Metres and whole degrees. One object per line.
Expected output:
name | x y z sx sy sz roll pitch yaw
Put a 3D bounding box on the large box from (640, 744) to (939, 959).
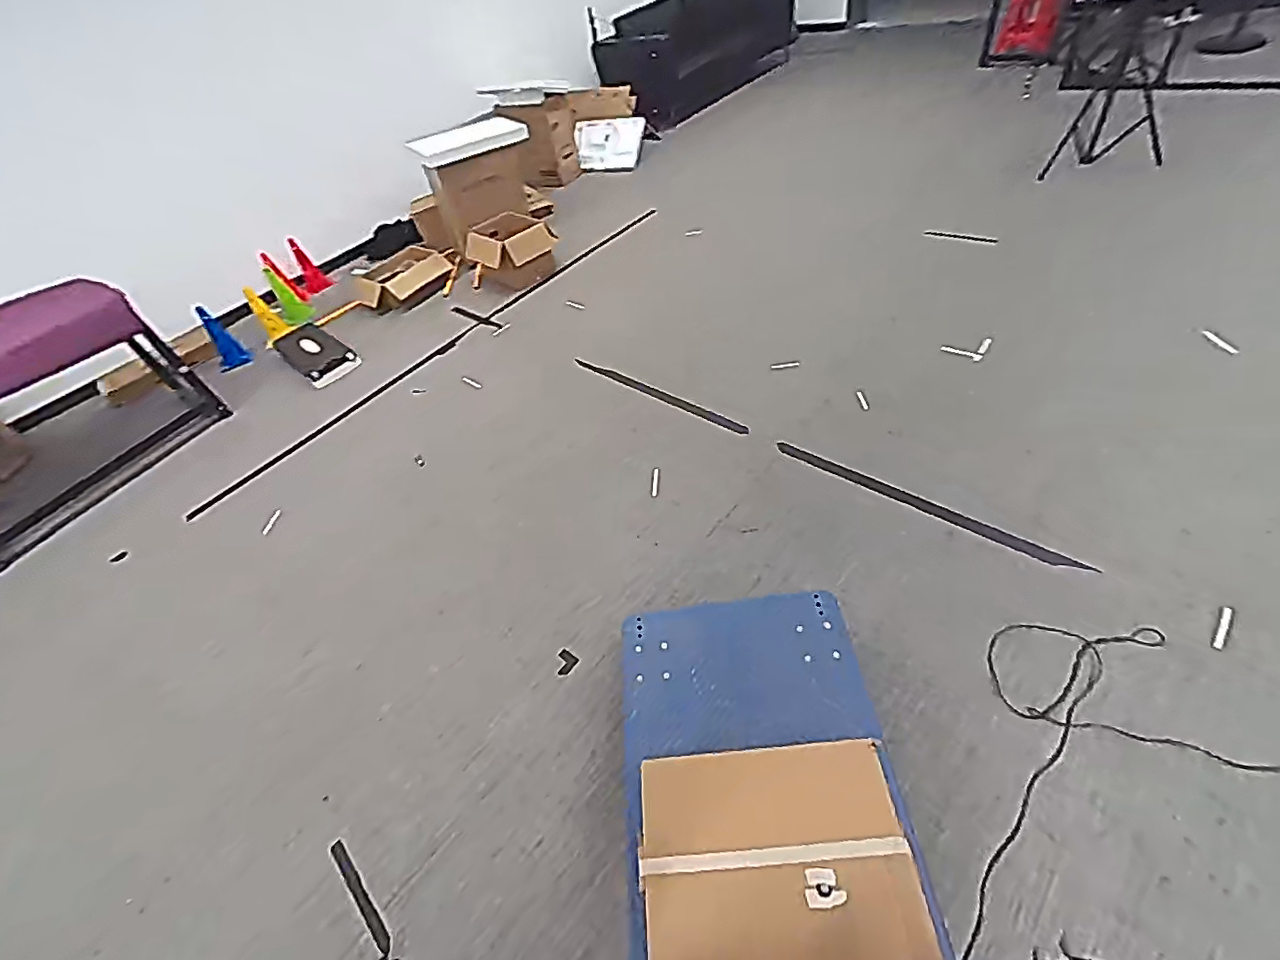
large box | 0.226 0.691 0.941 0.408 0.320 0.320 -8 47 5
